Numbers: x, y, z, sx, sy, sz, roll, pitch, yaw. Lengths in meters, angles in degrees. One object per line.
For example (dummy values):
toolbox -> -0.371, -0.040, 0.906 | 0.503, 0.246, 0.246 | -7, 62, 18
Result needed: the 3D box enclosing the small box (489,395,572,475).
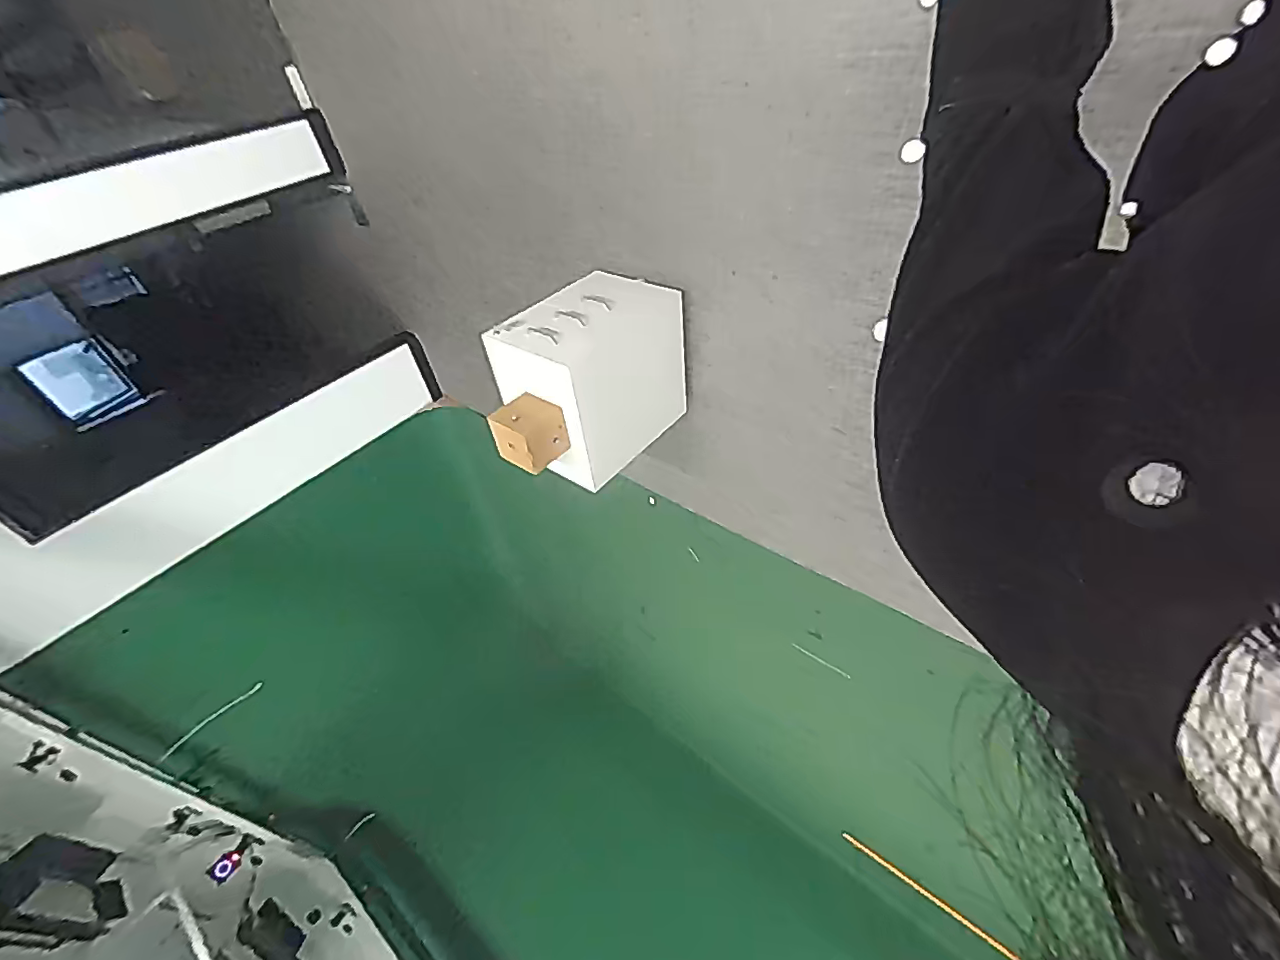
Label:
small box -> -0.346, -0.150, 1.731 | 0.179, 0.176, 0.168 | 26, 142, 31
